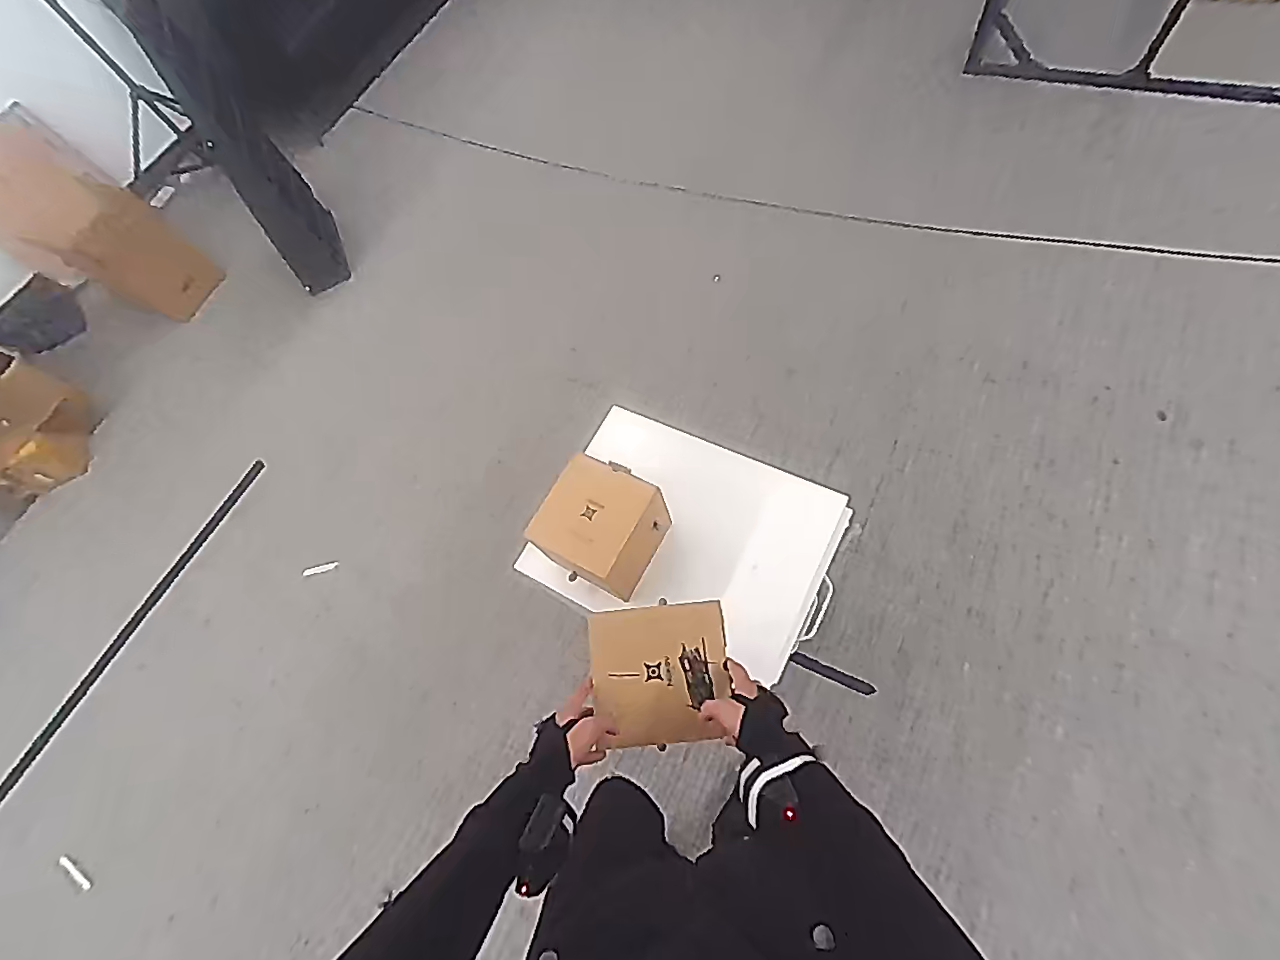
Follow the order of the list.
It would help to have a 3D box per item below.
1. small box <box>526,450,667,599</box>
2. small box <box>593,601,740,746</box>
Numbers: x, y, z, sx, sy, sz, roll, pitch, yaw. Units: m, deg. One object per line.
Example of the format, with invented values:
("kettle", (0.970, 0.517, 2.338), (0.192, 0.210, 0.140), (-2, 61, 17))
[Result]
("small box", (-0.064, 0.083, 0.948), (0.168, 0.176, 0.179), (25, 72, 21))
("small box", (0.032, 0.264, 0.751), (0.179, 0.176, 0.168), (-5, 70, 1))
